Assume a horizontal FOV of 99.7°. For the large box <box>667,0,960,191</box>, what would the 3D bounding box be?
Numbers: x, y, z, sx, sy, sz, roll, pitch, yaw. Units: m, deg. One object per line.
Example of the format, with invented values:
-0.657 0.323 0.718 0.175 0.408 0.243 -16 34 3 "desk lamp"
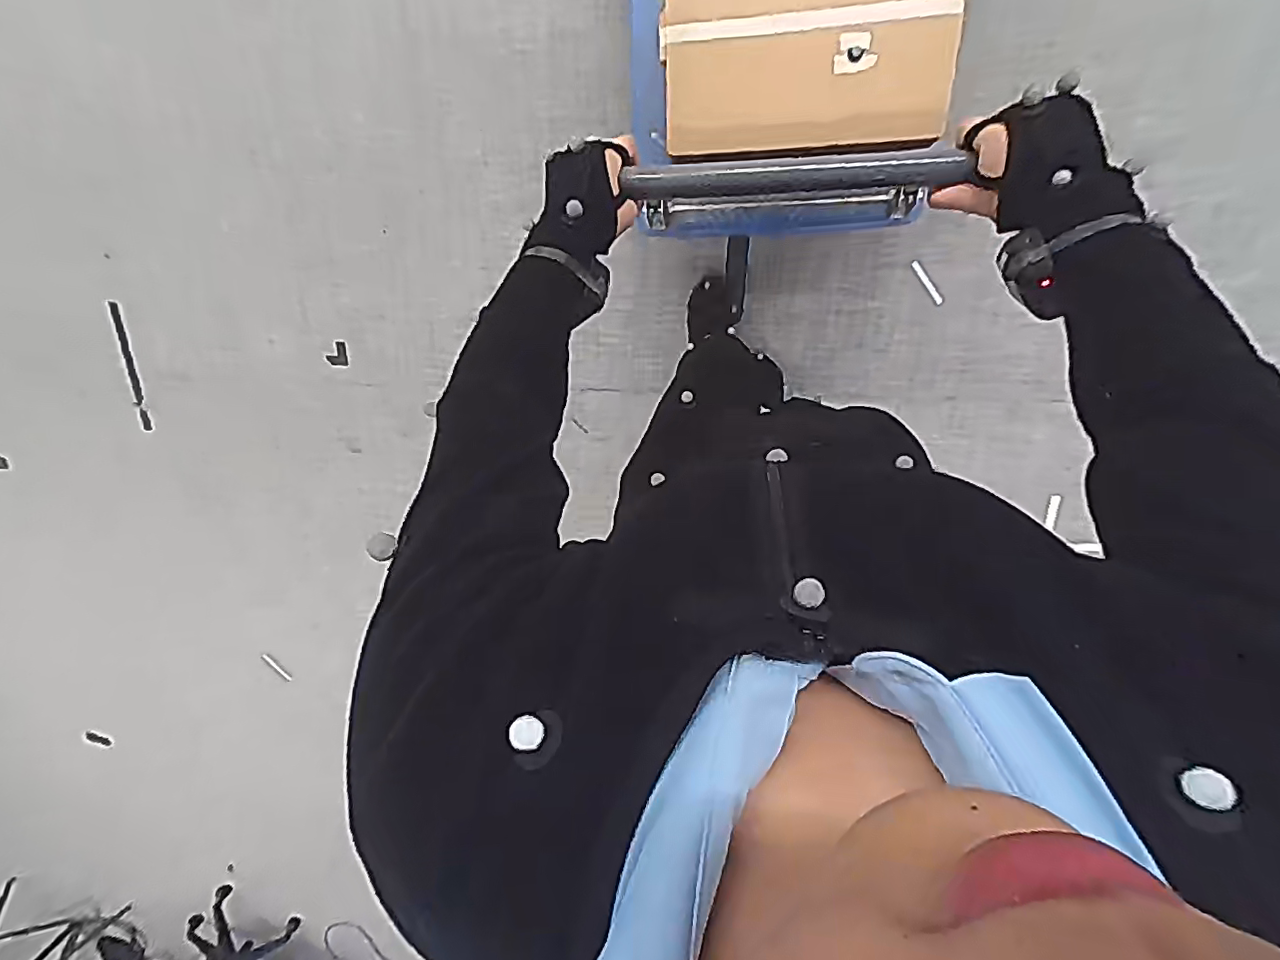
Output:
0.255 -0.689 0.900 0.408 0.320 0.320 1 111 8 "large box"
